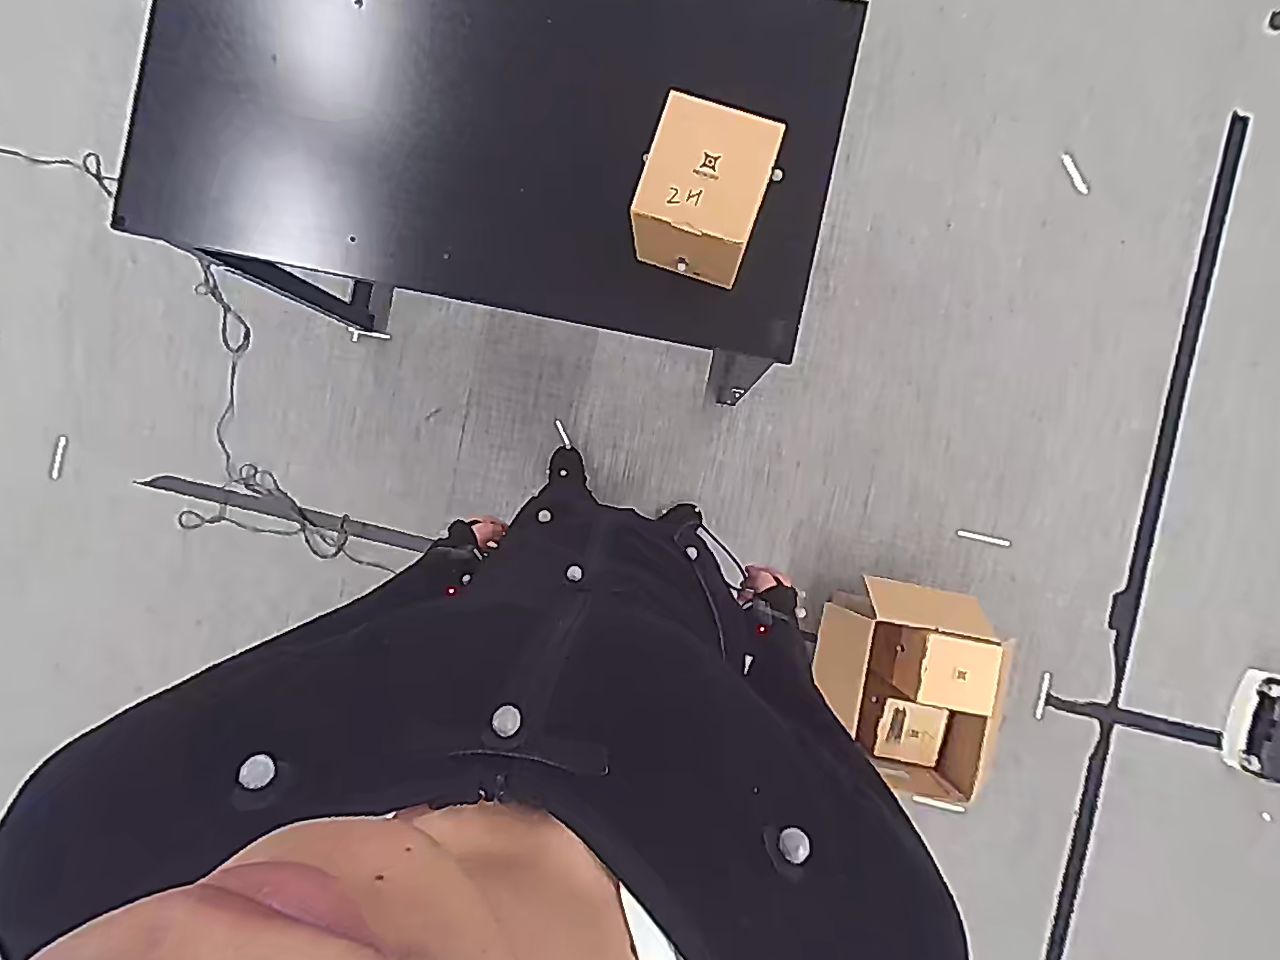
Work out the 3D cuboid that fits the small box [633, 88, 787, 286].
[{"bbox_3d":[0.096,-0.422,0.806,0.168,0.176,0.179,20,91,3],"label":"small box"}]
